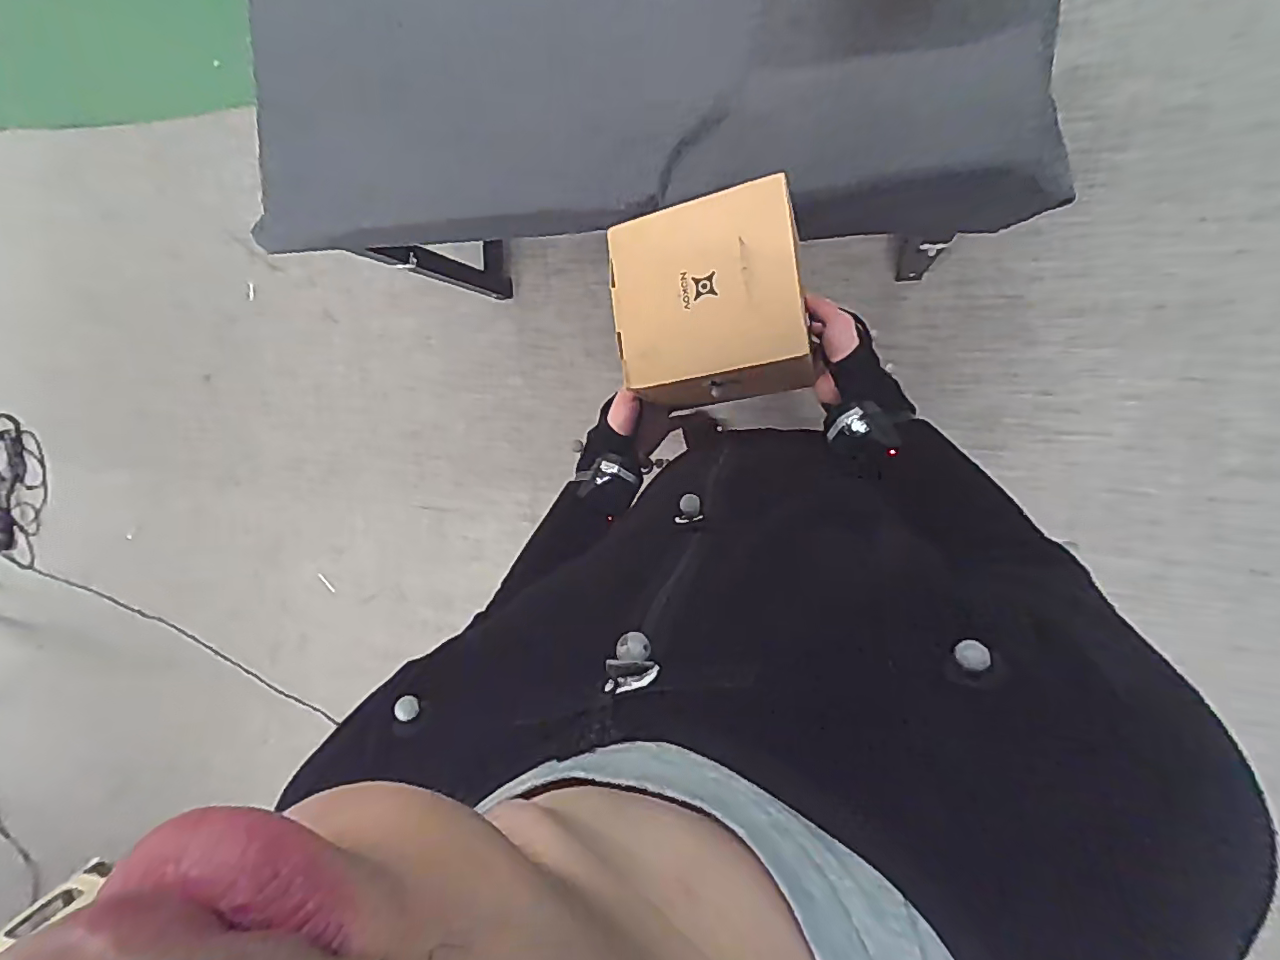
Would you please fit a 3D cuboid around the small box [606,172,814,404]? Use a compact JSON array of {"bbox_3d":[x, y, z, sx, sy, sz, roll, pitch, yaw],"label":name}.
[{"bbox_3d":[0.083,-0.182,0.577,0.179,0.176,0.168,-8,88,20],"label":"small box"}]
